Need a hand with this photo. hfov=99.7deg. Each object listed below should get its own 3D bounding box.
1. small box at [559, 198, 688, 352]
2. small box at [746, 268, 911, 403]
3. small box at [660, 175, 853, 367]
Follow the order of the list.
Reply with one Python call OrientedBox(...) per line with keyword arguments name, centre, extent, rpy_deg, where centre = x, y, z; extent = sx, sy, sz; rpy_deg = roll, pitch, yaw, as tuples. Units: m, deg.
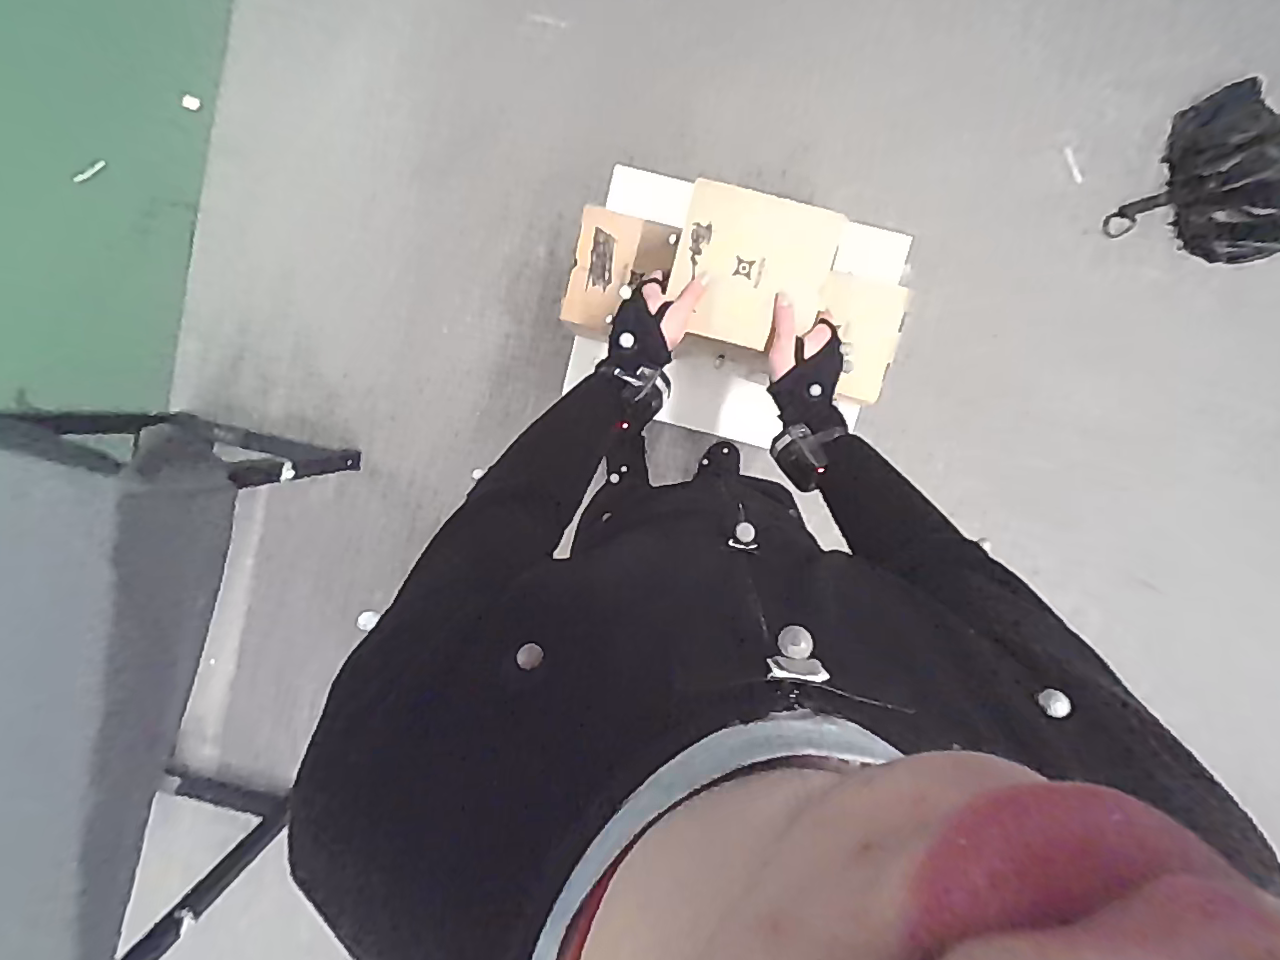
OrientedBox(name="small box", centre=(-0.011, -0.302, 0.837), extent=(0.179, 0.176, 0.168), rpy_deg=(14, 98, -2))
OrientedBox(name="small box", centre=(0.278, -0.221, 0.839), extent=(0.179, 0.176, 0.168), rpy_deg=(15, 97, 2))
OrientedBox(name="small box", centre=(0.130, -0.243, 0.678), extent=(0.179, 0.176, 0.168), rpy_deg=(15, 98, -1))
